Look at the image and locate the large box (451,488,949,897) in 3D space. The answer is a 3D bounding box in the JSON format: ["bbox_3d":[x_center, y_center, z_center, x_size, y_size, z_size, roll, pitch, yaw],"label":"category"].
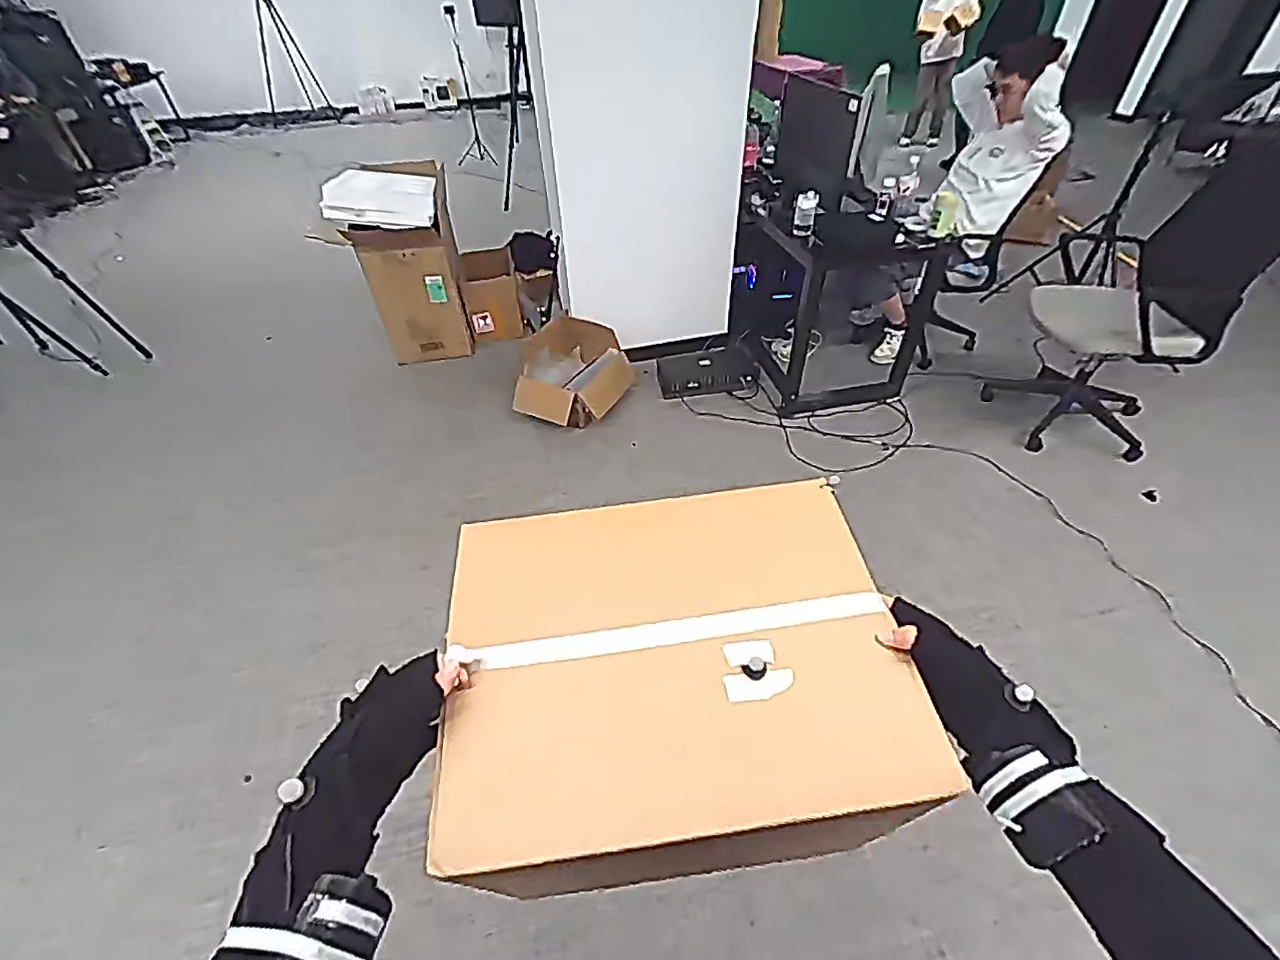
[{"bbox_3d":[0.036,0.246,0.623,0.408,0.320,0.320,-7,50,-3],"label":"large box"}]
